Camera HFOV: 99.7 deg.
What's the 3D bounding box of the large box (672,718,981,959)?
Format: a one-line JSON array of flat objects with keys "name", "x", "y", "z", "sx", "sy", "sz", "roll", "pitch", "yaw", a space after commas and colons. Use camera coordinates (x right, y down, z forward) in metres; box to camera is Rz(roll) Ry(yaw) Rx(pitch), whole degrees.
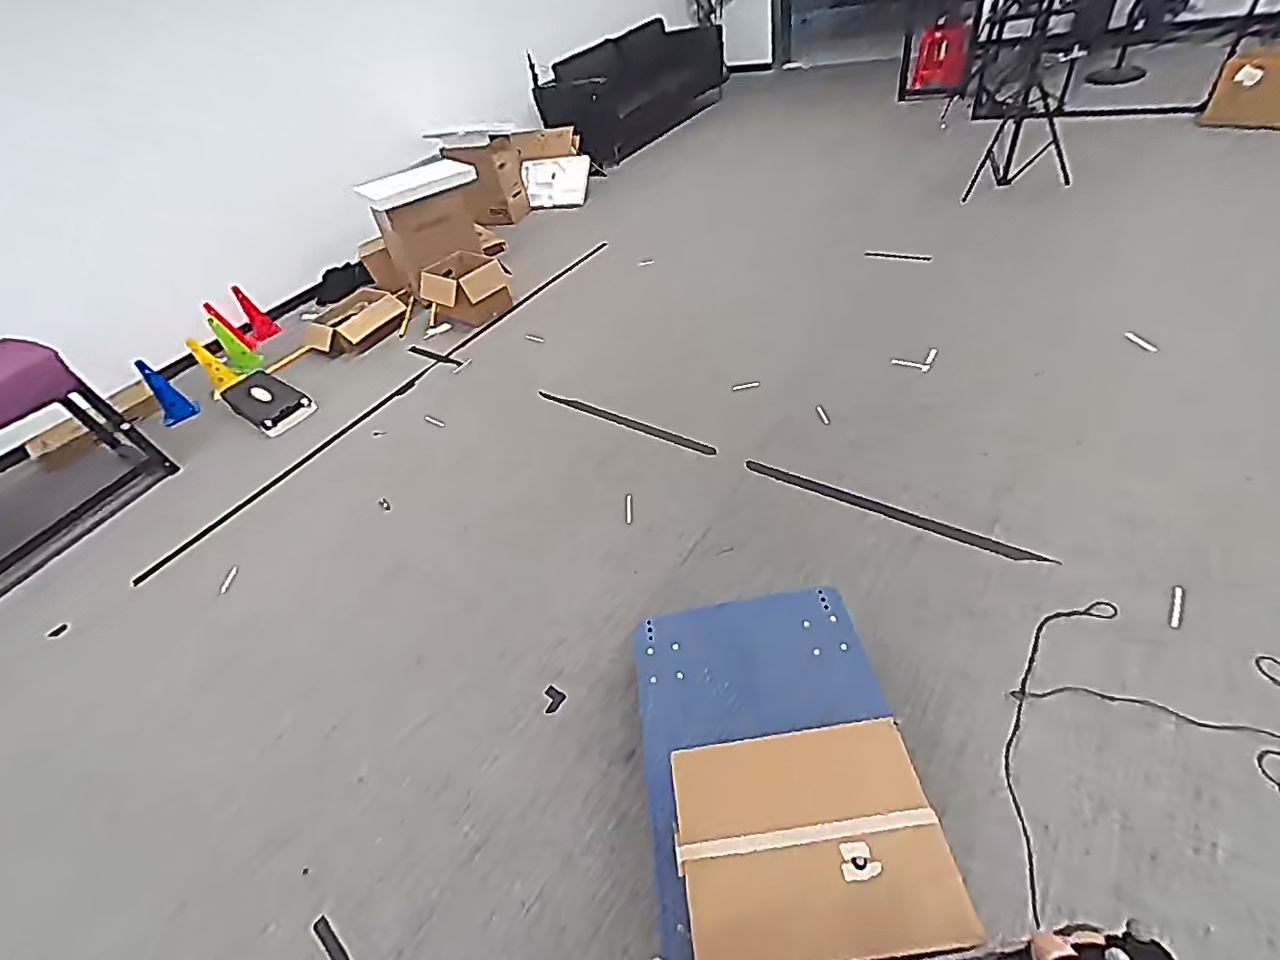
[{"name": "large box", "x": 0.291, "y": 0.672, "z": 0.968, "sx": 0.408, "sy": 0.320, "sz": 0.320, "roll": -10, "pitch": 45, "yaw": 3}]
